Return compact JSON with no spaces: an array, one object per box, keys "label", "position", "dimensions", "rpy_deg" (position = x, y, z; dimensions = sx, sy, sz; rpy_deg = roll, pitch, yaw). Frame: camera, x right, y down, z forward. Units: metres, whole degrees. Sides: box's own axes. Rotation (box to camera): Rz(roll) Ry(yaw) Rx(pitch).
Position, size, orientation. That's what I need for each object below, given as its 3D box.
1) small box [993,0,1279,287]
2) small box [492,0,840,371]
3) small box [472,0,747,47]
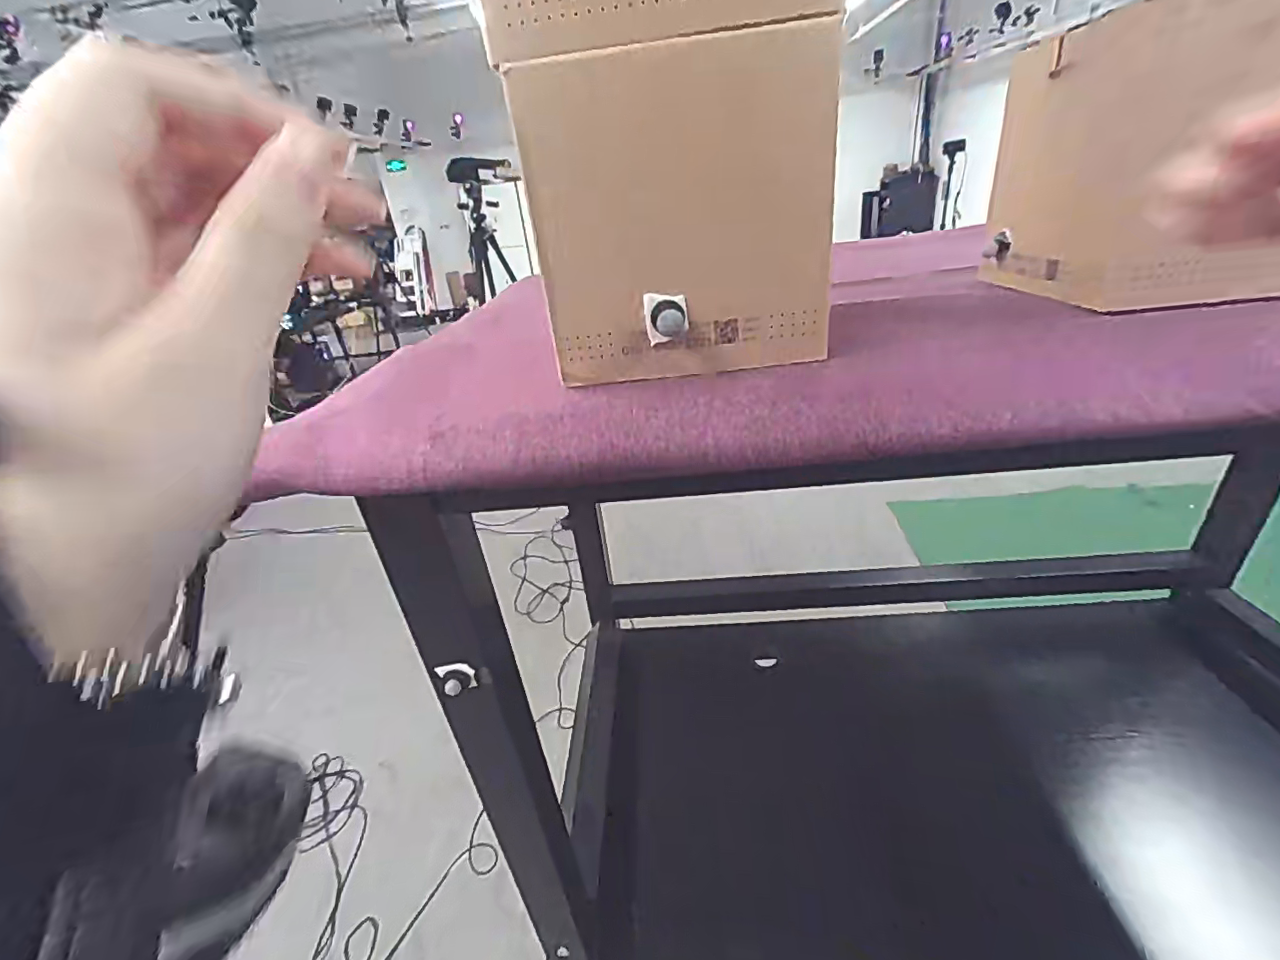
[{"label":"small box","position":[0.366,-0.230,0.359],"dimensions":[0.179,0.176,0.168],"rpy_deg":[-4,27,6]},{"label":"small box","position":[0.019,-0.182,0.360],"dimensions":[0.168,0.176,0.179],"rpy_deg":[-7,30,2]},{"label":"small box","position":[-0.007,-0.326,0.283],"dimensions":[0.179,0.176,0.168],"rpy_deg":[-8,29,2]}]
